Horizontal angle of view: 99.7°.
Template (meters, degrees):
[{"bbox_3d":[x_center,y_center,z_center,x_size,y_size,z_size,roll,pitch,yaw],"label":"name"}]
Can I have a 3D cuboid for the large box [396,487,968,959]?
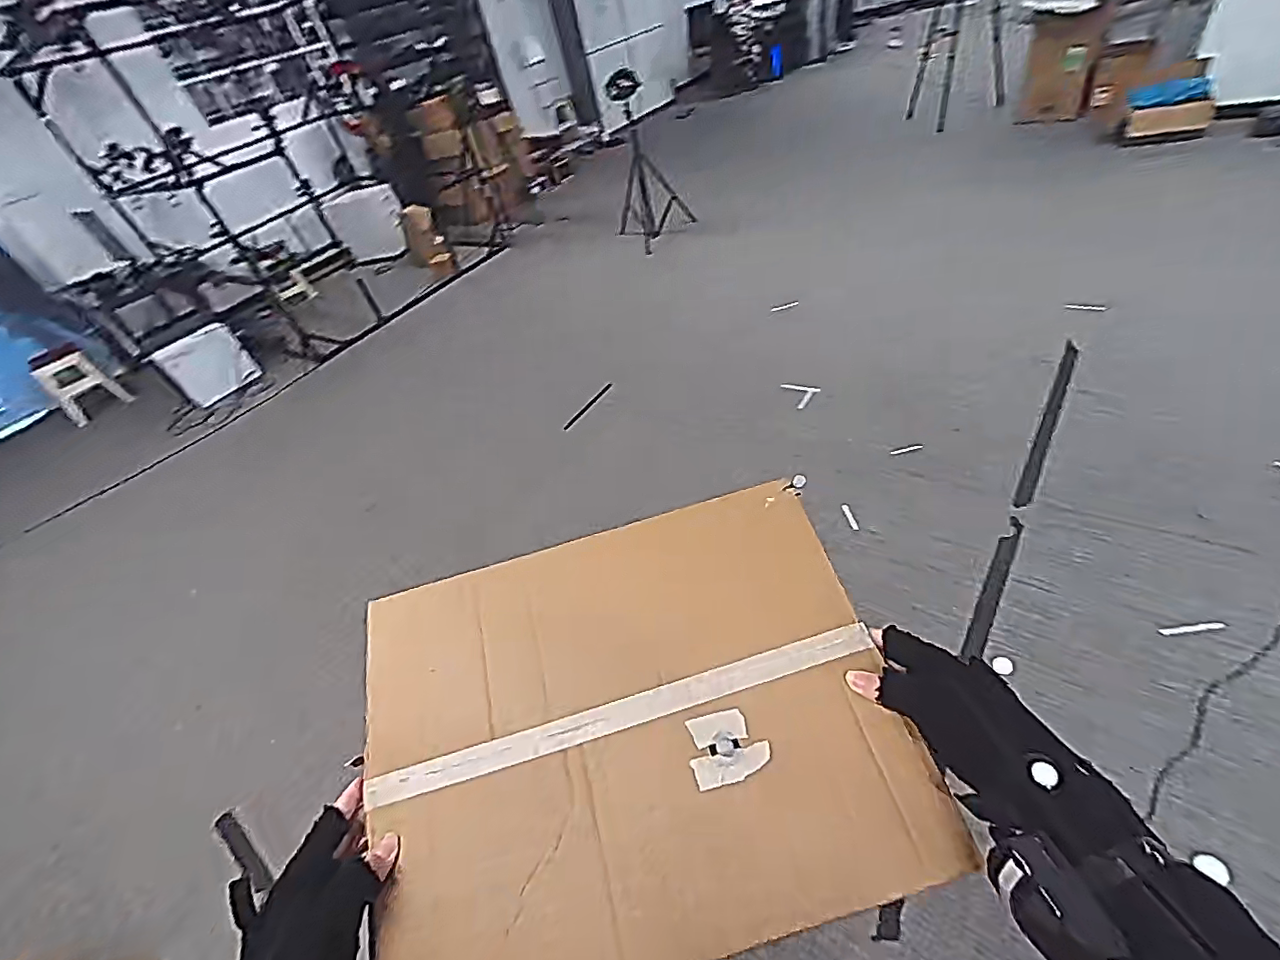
[{"bbox_3d":[0.014,0.263,0.563,0.408,0.320,0.320,-16,59,-2],"label":"large box"}]
